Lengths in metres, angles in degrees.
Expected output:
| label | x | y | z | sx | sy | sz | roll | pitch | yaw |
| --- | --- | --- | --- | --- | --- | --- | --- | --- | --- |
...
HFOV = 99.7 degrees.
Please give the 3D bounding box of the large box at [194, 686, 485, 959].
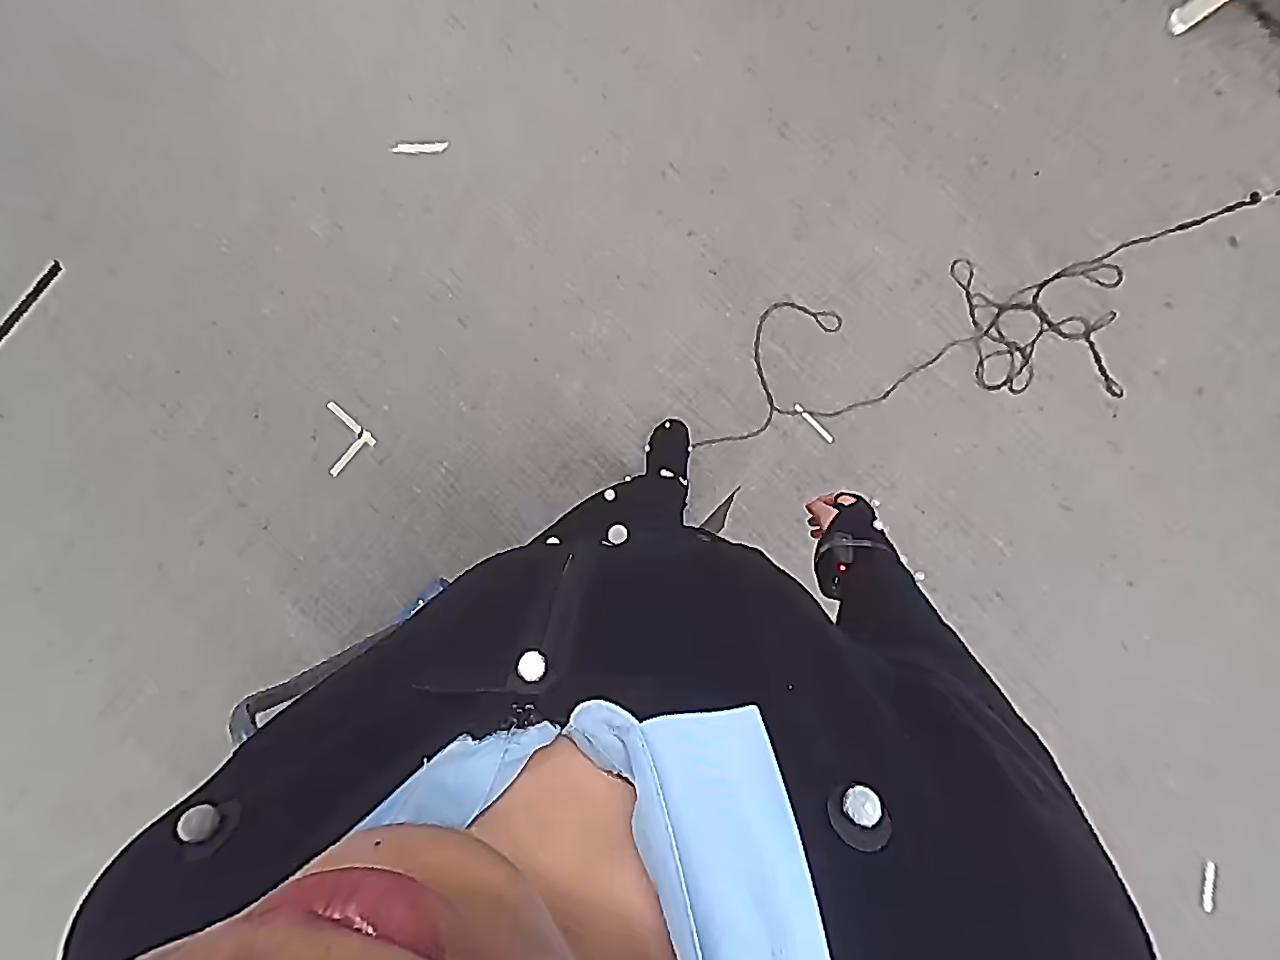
| label | x | y | z | sx | sy | sz | roll | pitch | yaw |
| --- | --- | --- | --- | --- | --- | --- | --- | --- | --- |
| large box | -0.629 | 0.752 | 1.202 | 0.320 | 0.320 | 0.408 | -44 | 90 | 2 |
